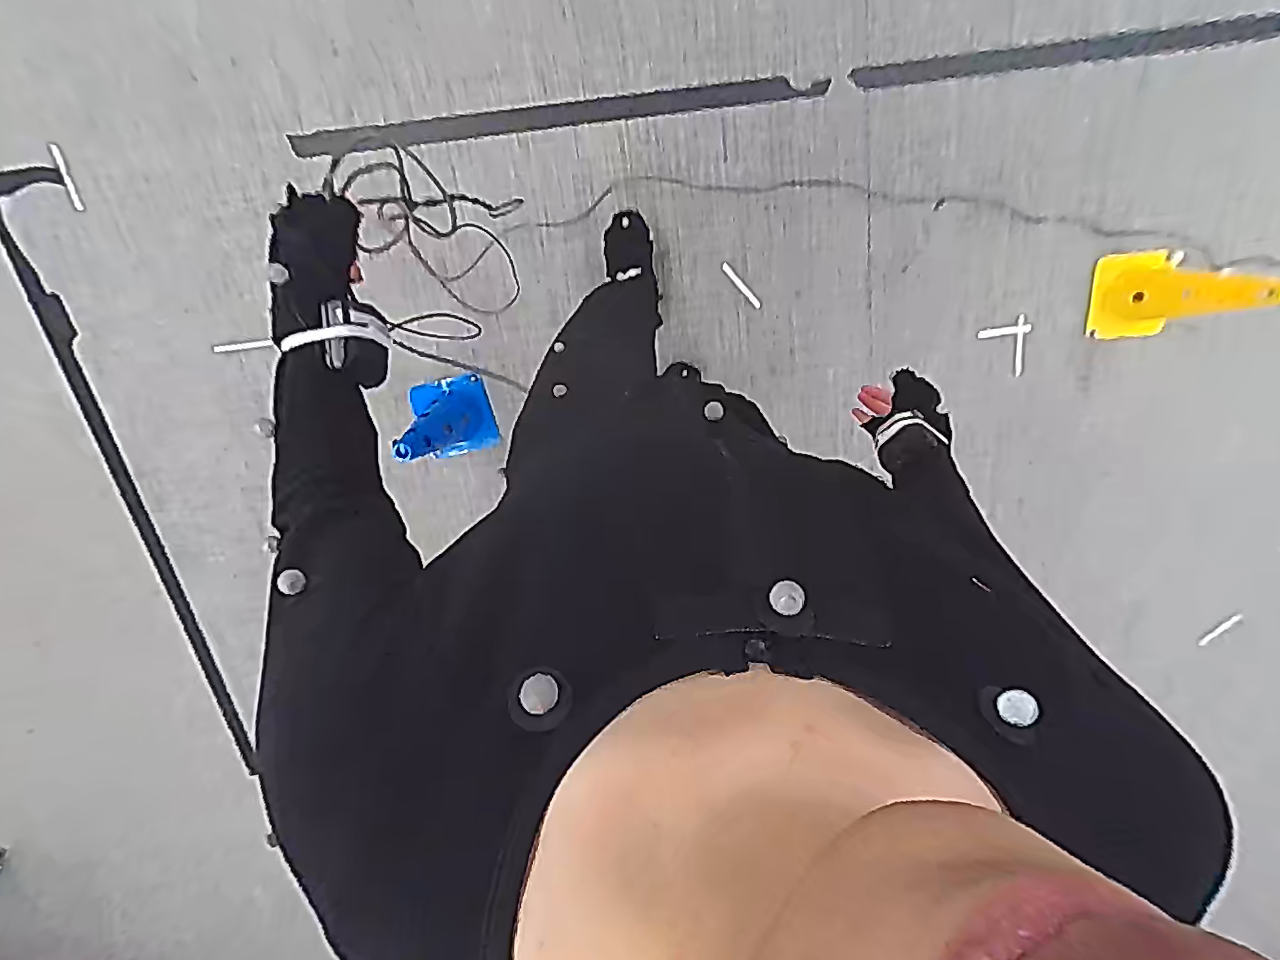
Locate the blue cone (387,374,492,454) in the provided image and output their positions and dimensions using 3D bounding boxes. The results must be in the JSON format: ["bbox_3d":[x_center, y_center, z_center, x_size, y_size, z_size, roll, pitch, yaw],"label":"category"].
[{"bbox_3d":[-0.492,-0.119,1.262,0.193,0.380,0.192,-12,107,3],"label":"blue cone"}]
